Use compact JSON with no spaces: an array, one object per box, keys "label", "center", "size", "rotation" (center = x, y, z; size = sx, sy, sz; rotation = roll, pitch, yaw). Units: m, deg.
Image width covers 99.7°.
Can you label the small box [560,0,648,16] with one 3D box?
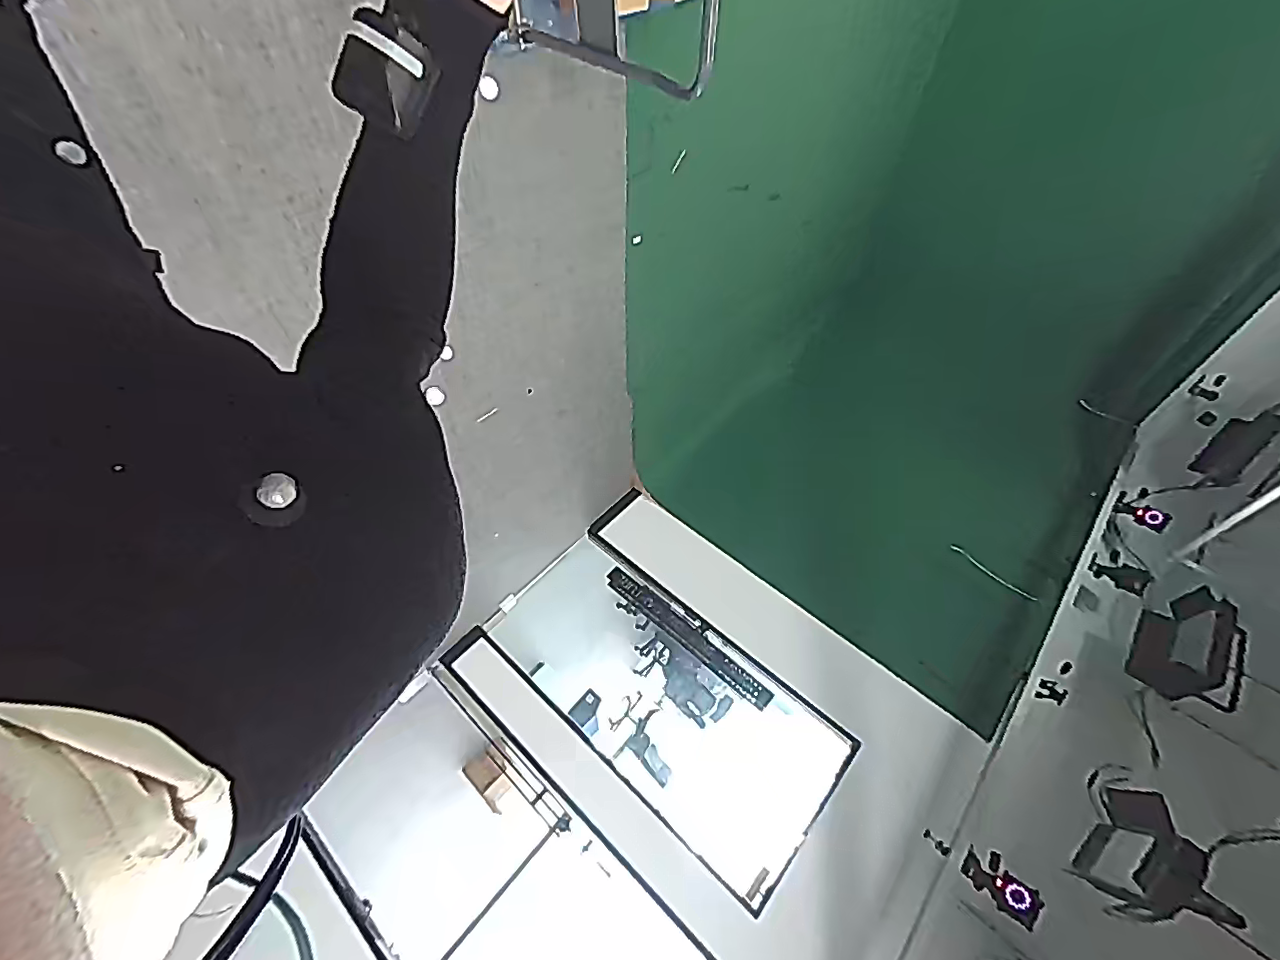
[{"label":"small box","center":[-0.095,-1.313,1.374],"size":[0.179,0.176,0.168],"rotation":[-39,152,-27]}]
